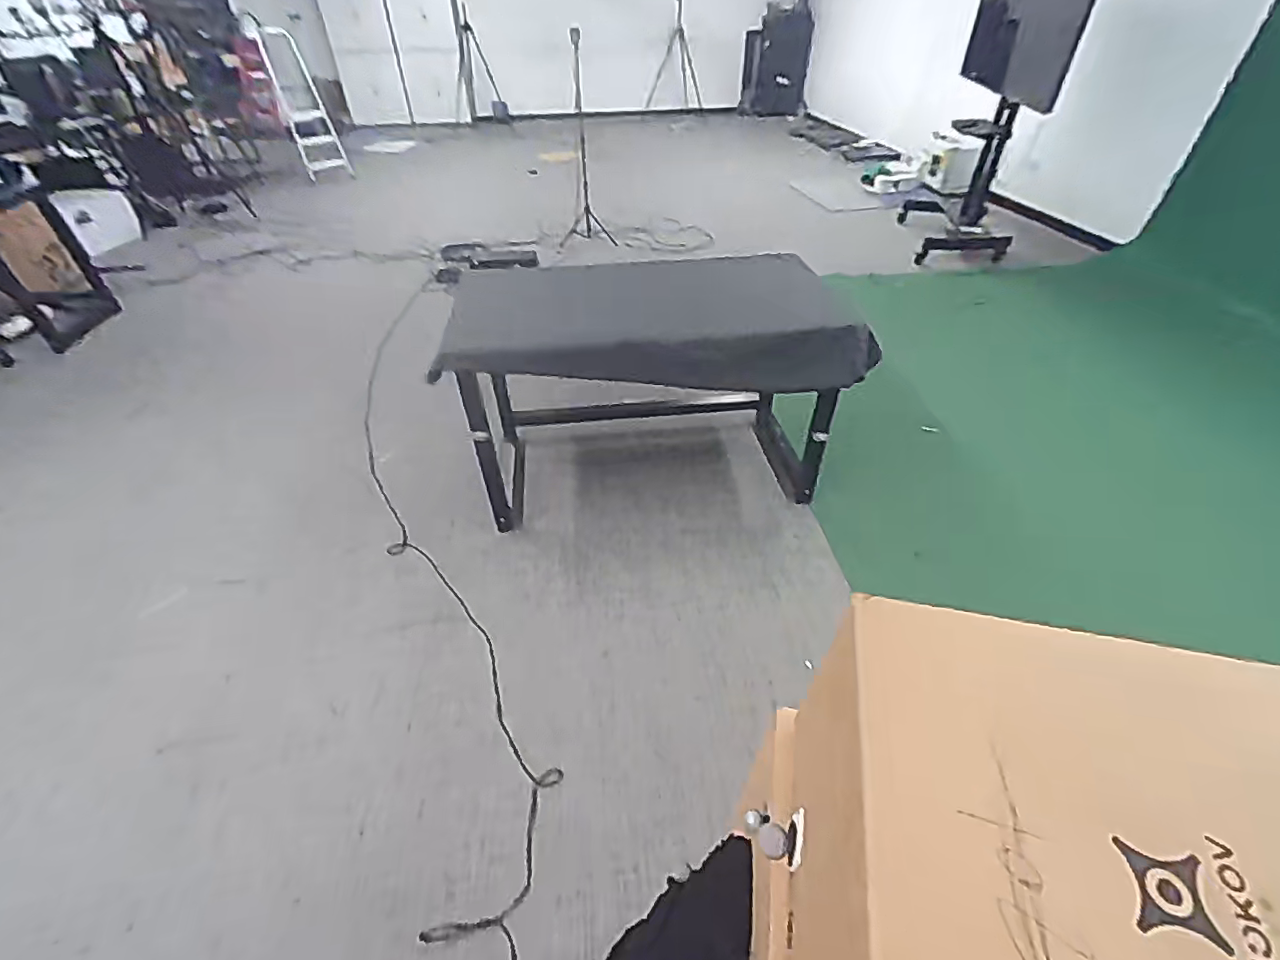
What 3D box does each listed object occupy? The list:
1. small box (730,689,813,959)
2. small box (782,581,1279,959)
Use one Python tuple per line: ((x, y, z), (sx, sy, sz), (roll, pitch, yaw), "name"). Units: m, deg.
((0.162, 0.263, 0.353), (0.179, 0.176, 0.168), (8, 48, 9), "small box")
((0.161, 0.167, 0.222), (0.179, 0.176, 0.168), (7, 48, 10), "small box")
